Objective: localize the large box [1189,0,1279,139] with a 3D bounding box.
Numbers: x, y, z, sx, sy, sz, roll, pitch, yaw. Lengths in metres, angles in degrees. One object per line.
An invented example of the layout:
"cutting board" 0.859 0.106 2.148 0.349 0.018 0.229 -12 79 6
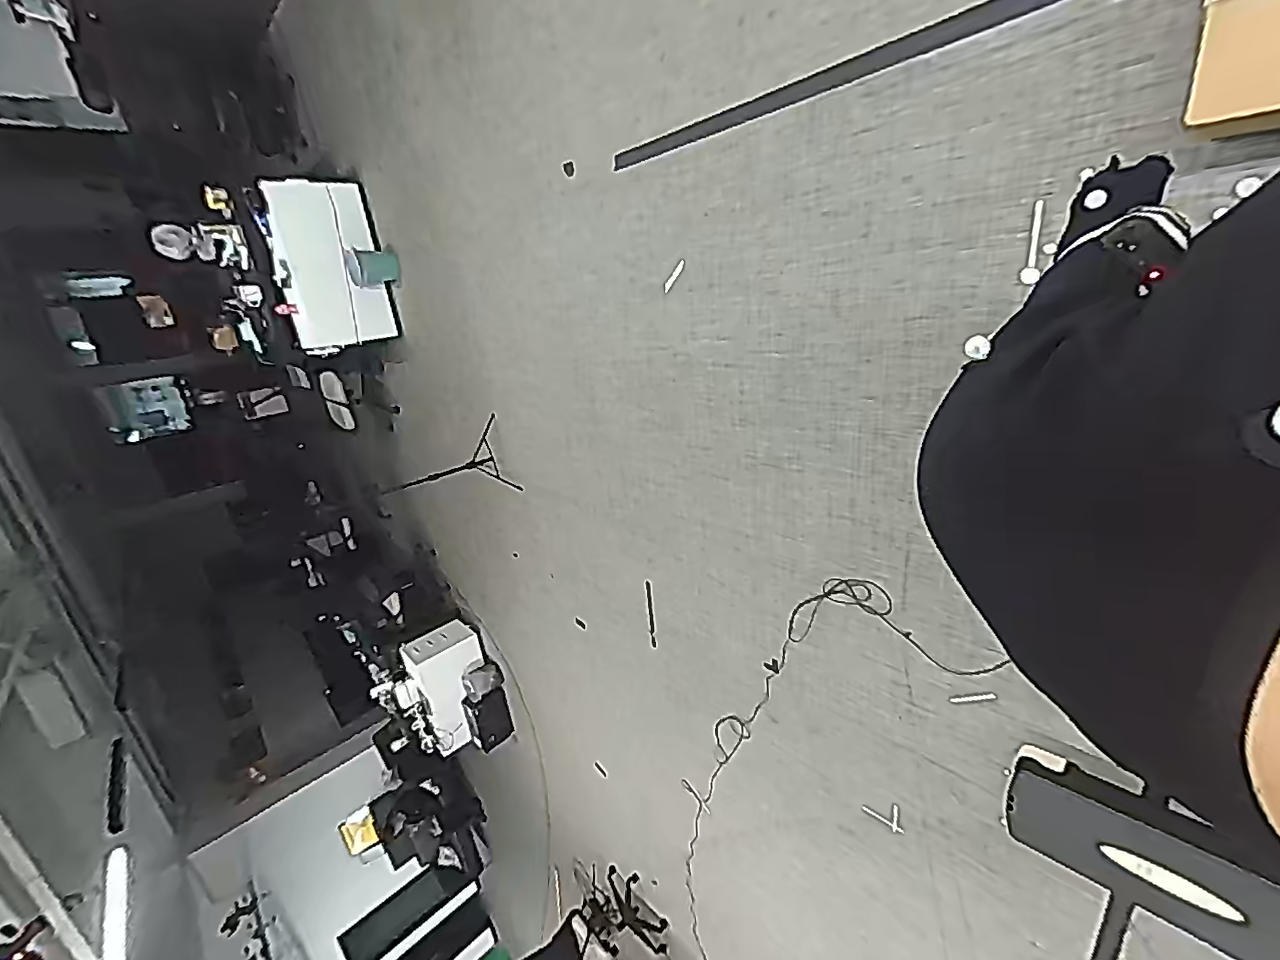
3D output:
"large box" 1.008 -0.666 0.678 0.408 0.320 0.320 15 120 44
